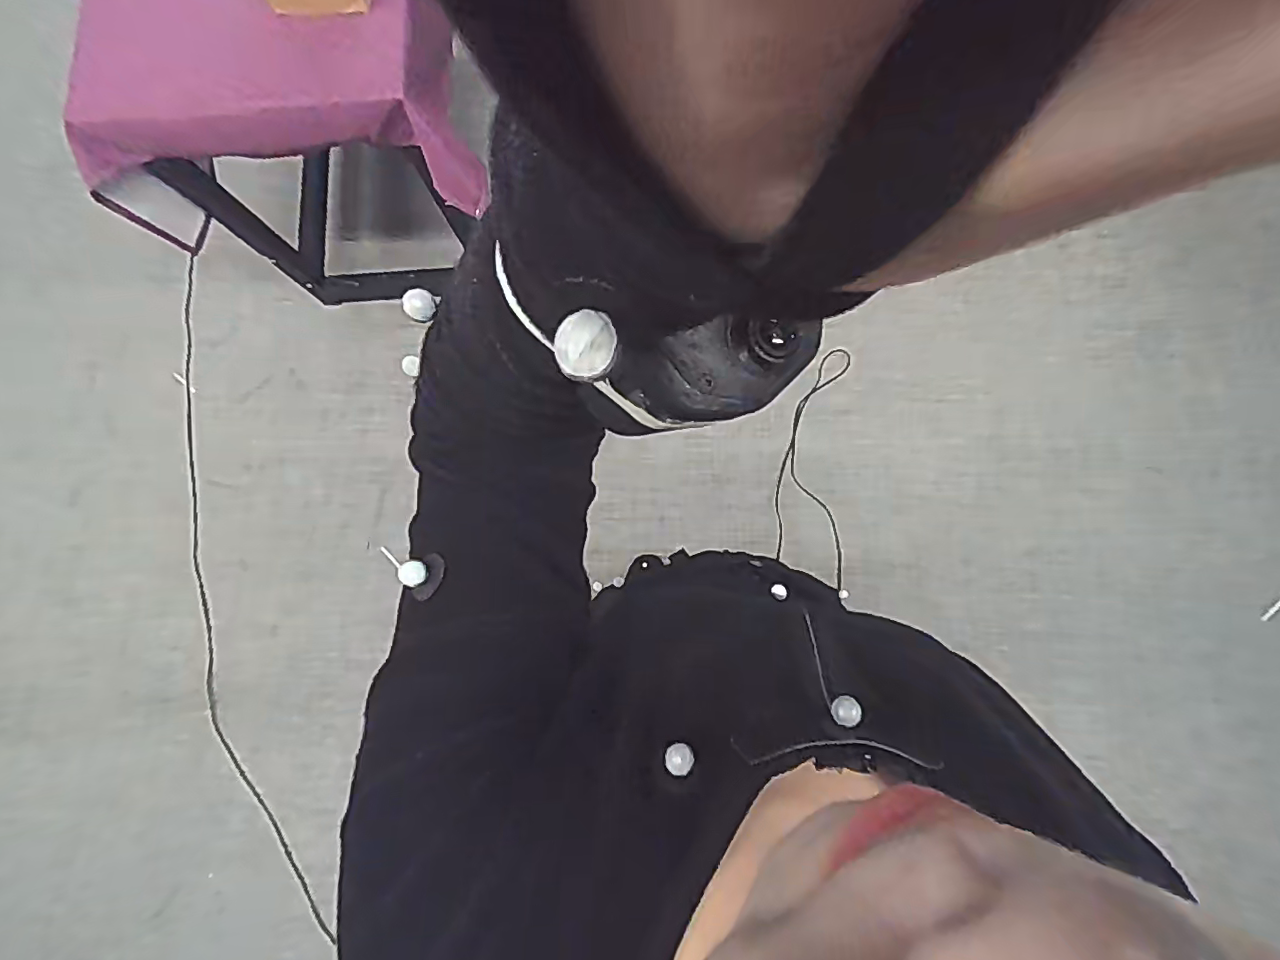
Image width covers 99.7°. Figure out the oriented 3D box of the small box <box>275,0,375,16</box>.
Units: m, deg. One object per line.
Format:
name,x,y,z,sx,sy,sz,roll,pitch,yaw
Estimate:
small box,-0.562,-0.925,0.903,0.179,0.176,0.168,2,82,2
